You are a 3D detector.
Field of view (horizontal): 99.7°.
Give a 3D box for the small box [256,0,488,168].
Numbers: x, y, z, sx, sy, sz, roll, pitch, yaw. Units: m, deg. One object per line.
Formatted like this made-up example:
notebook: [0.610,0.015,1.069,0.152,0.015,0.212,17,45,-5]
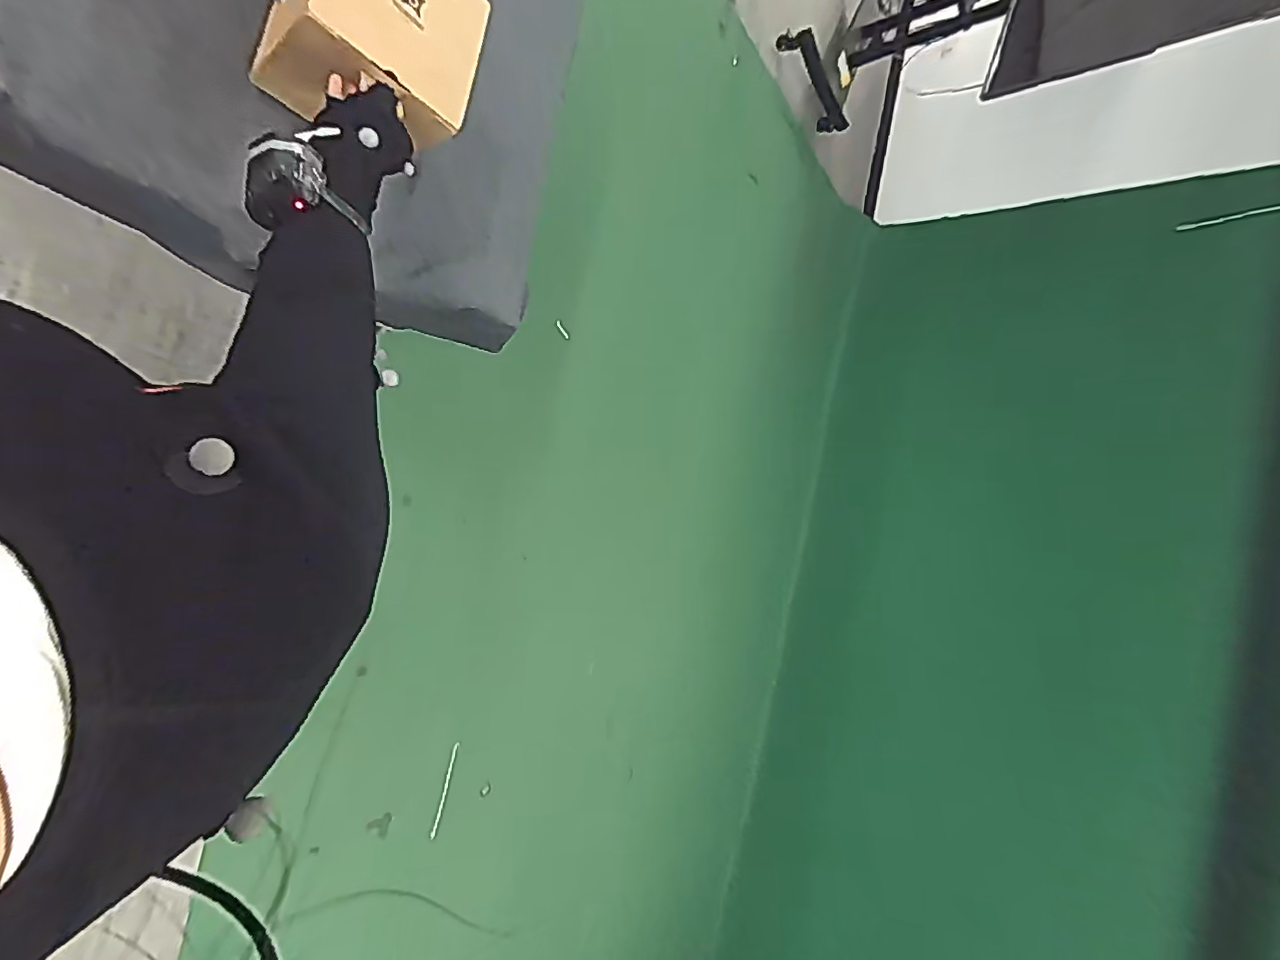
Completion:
small box: [-0.307,-0.501,0.620,0.168,0.176,0.179,19,79,-51]
